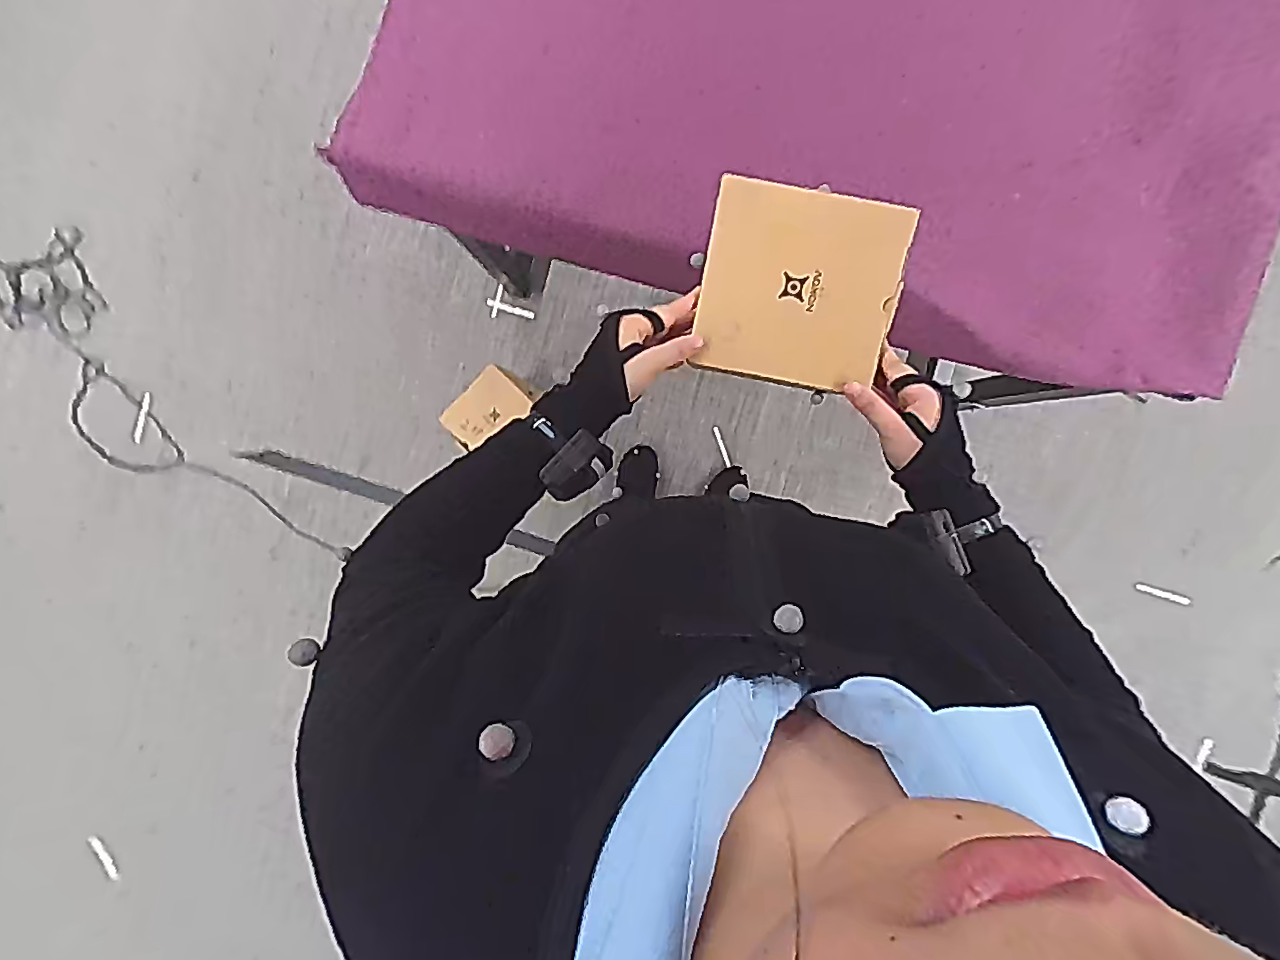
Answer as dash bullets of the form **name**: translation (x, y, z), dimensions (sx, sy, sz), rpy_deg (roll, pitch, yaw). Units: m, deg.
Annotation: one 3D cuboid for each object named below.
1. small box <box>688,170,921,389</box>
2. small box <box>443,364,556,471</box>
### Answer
- **small box**: translation (0.148, -0.190, 0.560), dimensions (0.179, 0.176, 0.168), rpy_deg (11, 101, 1)
- **small box**: translation (-0.312, -0.143, 1.251), dimensions (0.168, 0.176, 0.179), rpy_deg (45, 95, -2)
